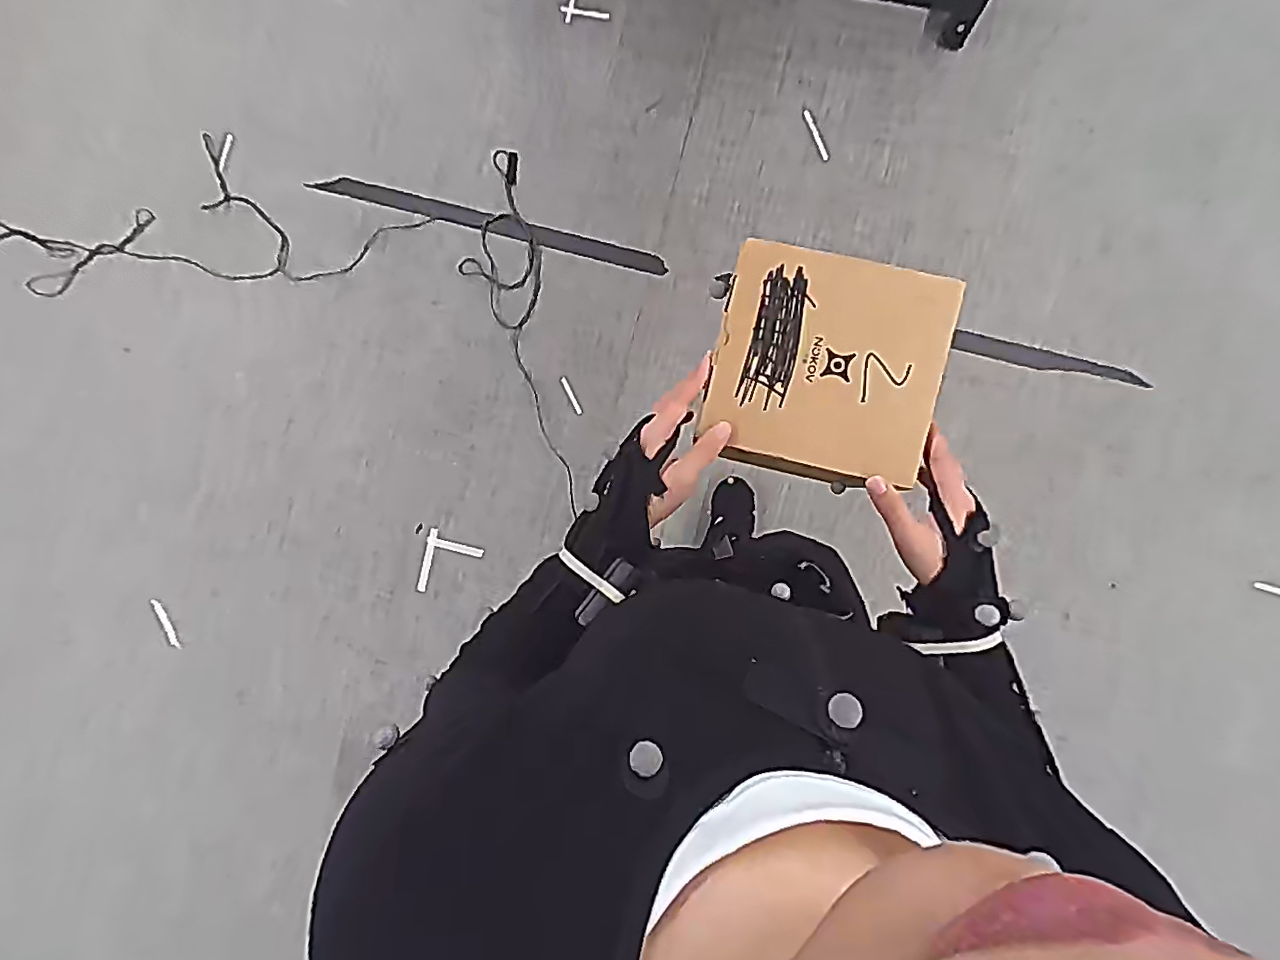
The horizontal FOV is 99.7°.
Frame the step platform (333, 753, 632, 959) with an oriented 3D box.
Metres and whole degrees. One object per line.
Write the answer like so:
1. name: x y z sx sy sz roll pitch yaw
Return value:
1. step platform: -0.373 0.935 1.311 0.684 0.204 0.286 15 91 5
